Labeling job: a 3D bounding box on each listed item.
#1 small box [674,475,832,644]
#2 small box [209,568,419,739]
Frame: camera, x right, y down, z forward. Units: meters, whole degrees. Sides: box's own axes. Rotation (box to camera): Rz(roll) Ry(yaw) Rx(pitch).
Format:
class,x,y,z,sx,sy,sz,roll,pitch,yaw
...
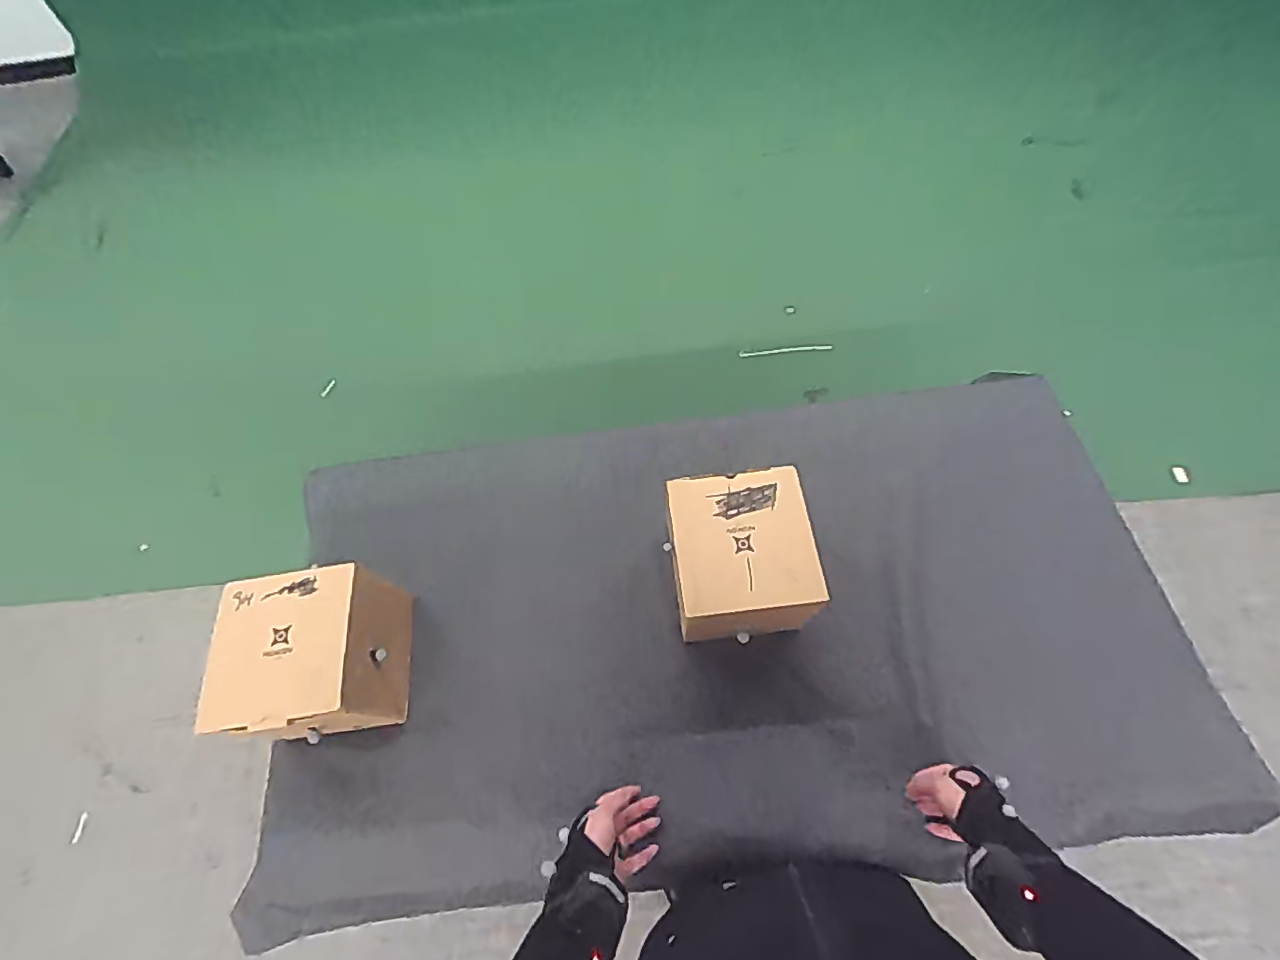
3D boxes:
class,x,y,z,sx,sy,sz,roll,pitch,yaw
small box,0.136,0.113,0.727,0.168,0.176,0.179,-7,65,1
small box,-0.404,0.231,0.706,0.168,0.176,0.179,-8,64,-1
